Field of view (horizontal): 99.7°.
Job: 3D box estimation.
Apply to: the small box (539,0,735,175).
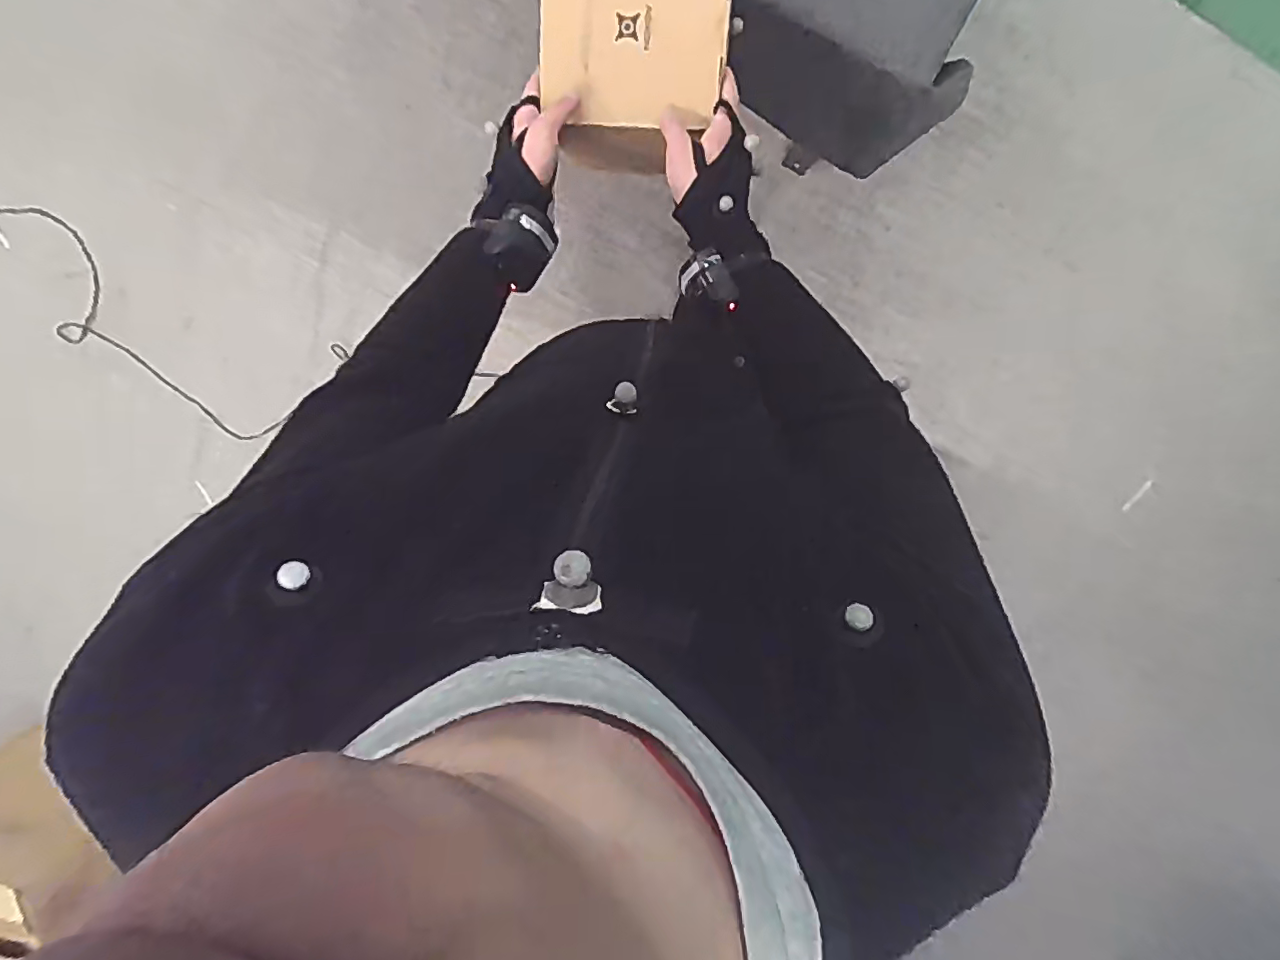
[{"bbox_3d":[0.003,-0.432,0.560,0.179,0.176,0.168,5,104,5],"label":"small box"}]
